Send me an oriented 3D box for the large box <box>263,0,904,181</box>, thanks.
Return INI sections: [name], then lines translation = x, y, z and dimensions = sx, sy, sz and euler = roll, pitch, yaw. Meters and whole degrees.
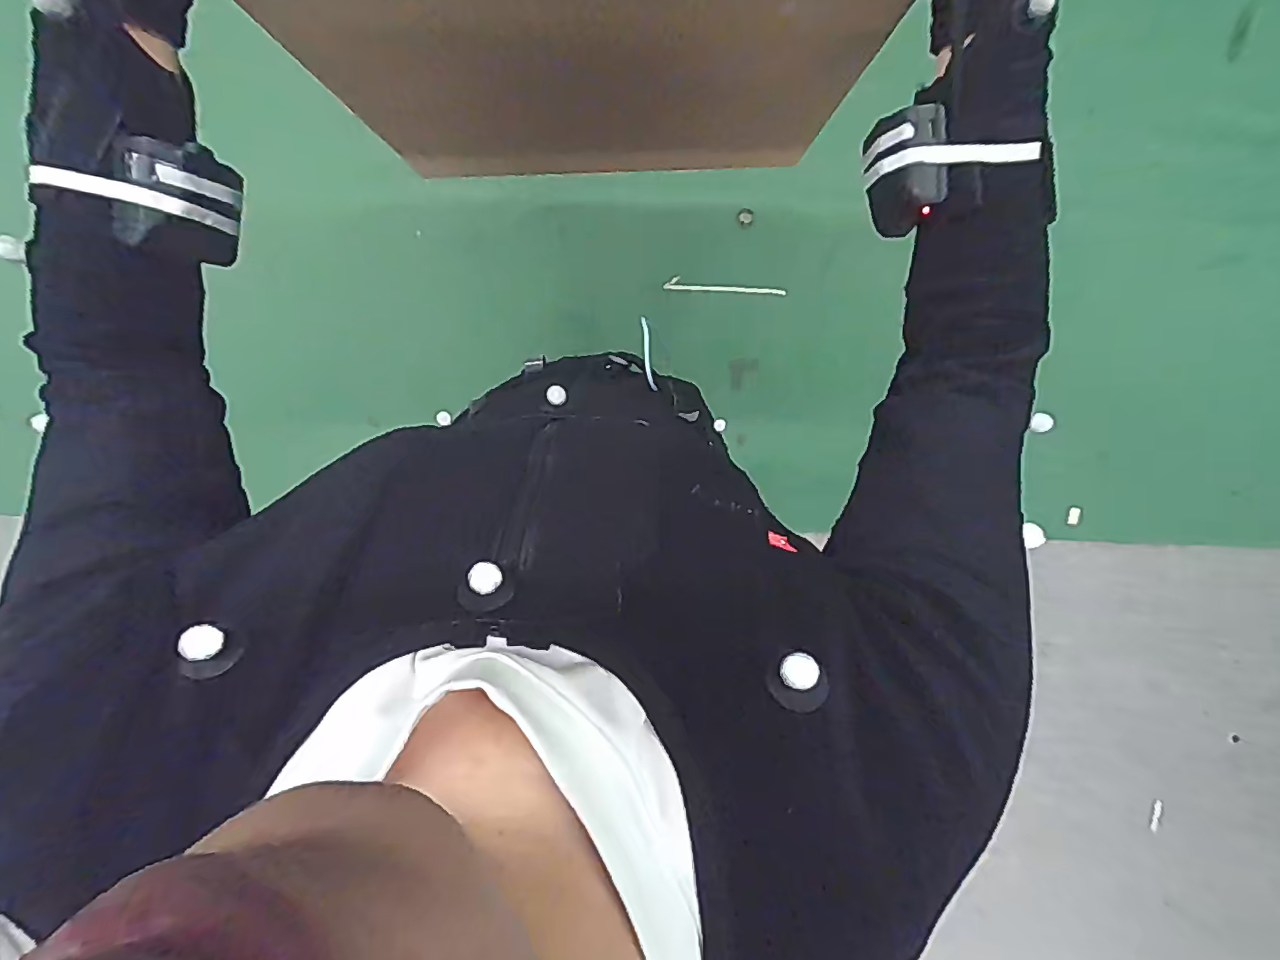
[large box]
translation = -0.037, -0.455, 0.406
dimensions = 0.408, 0.320, 0.320
euler = -3, 100, -1
